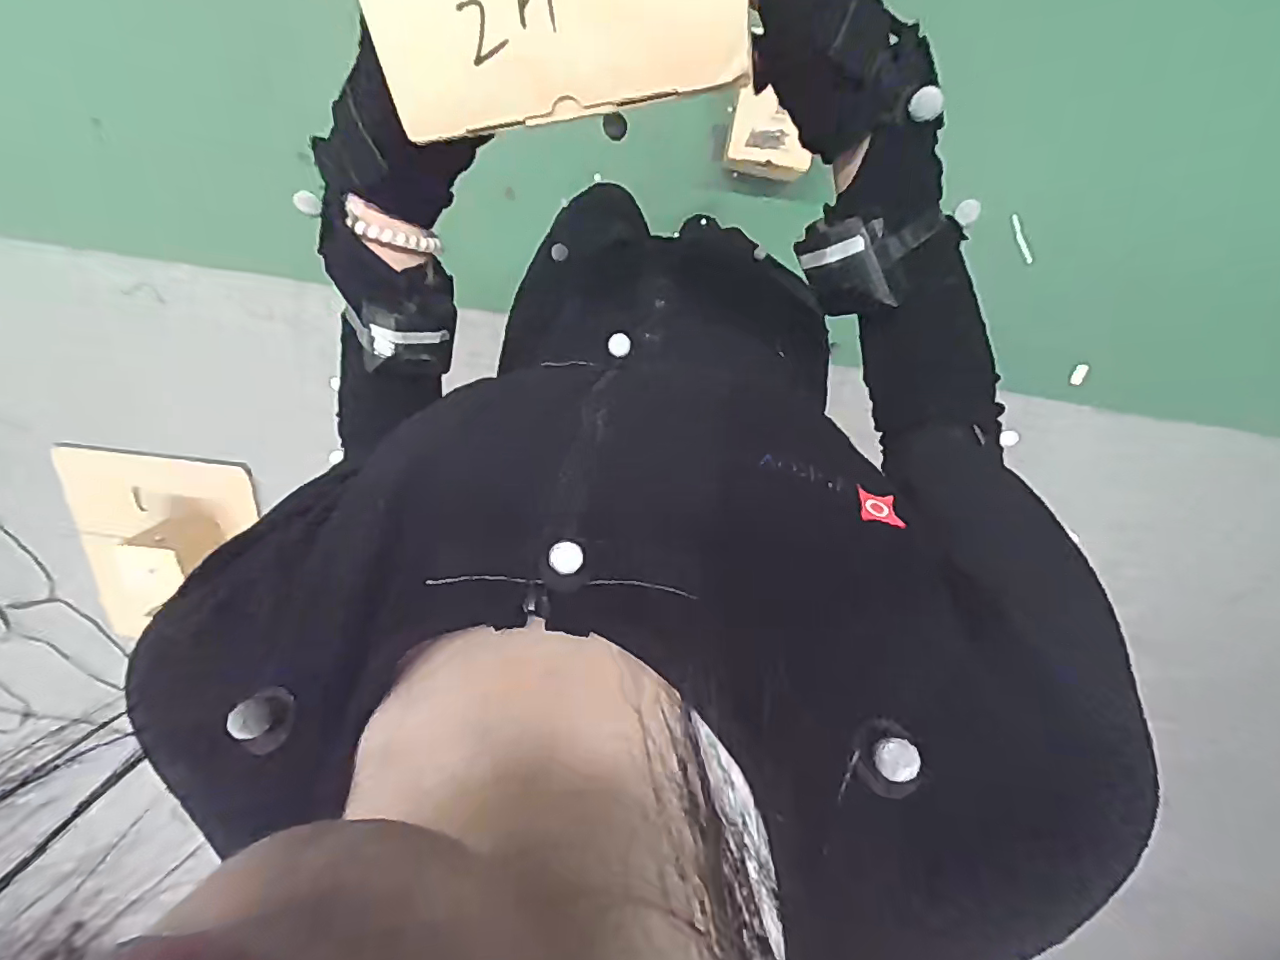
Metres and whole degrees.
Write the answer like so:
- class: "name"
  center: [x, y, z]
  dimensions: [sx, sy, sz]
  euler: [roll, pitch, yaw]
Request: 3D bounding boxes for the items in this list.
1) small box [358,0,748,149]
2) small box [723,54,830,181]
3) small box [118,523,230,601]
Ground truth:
- class: "small box"
  center: [-0.035, -0.282, 0.266]
  dimensions: [0.168, 0.176, 0.179]
  euler: [-2, 126, 12]
- class: "small box"
  center: [0.271, -0.736, 1.119]
  dimensions: [0.168, 0.176, 0.179]
  euler: [10, 112, 0]
- class: "small box"
  center: [-1.396, 0.242, 1.632]
  dimensions: [0.179, 0.176, 0.168]
  euler: [4, 112, 1]
